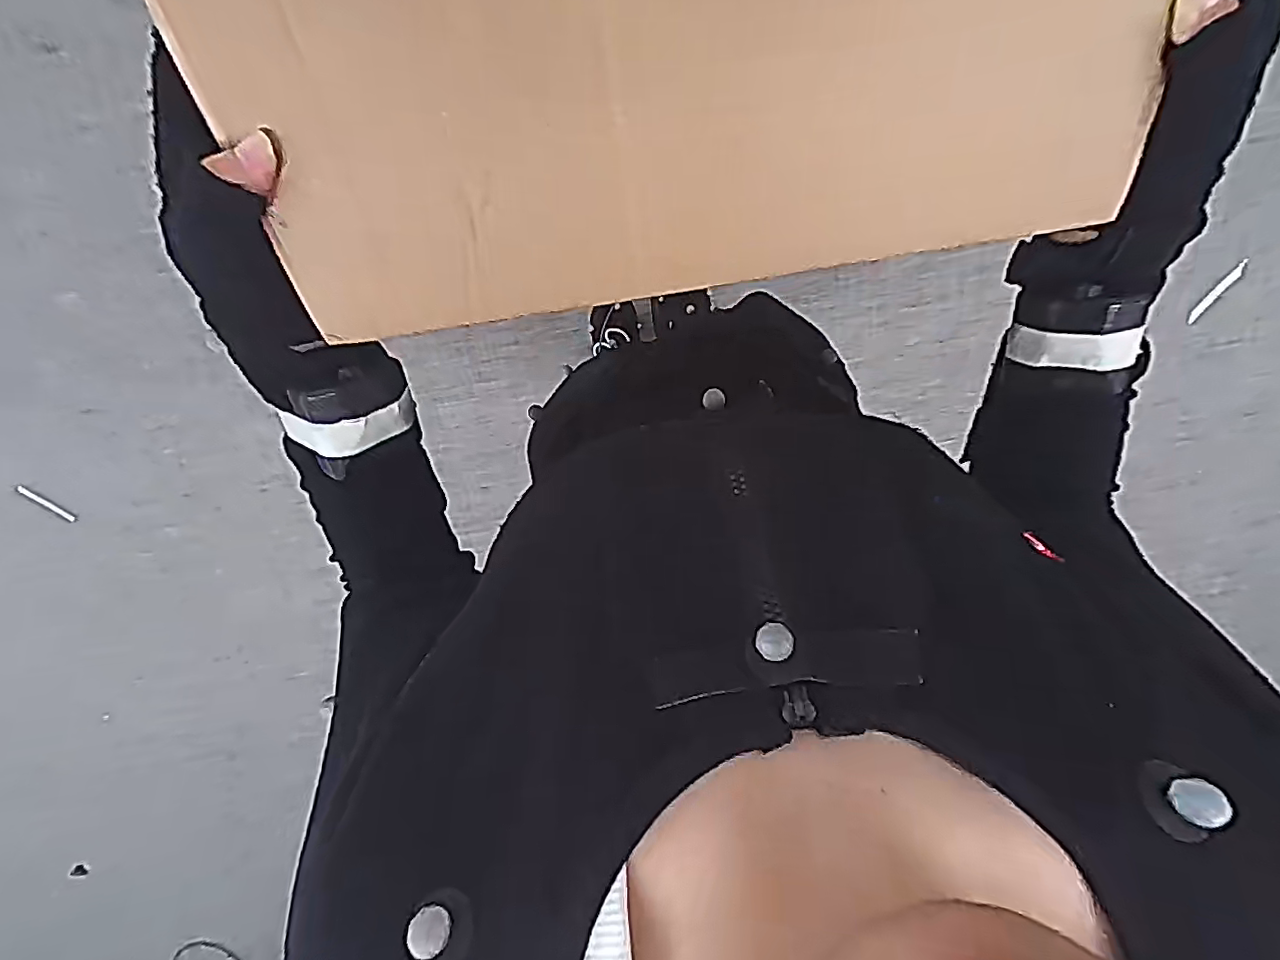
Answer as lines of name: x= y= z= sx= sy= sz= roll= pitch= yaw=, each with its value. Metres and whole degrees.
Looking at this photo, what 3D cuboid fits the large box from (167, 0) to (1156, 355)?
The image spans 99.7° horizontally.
large box: x=0.005 y=-0.309 z=0.315 sx=0.408 sy=0.320 sz=0.320 roll=-9 pitch=127 yaw=2
